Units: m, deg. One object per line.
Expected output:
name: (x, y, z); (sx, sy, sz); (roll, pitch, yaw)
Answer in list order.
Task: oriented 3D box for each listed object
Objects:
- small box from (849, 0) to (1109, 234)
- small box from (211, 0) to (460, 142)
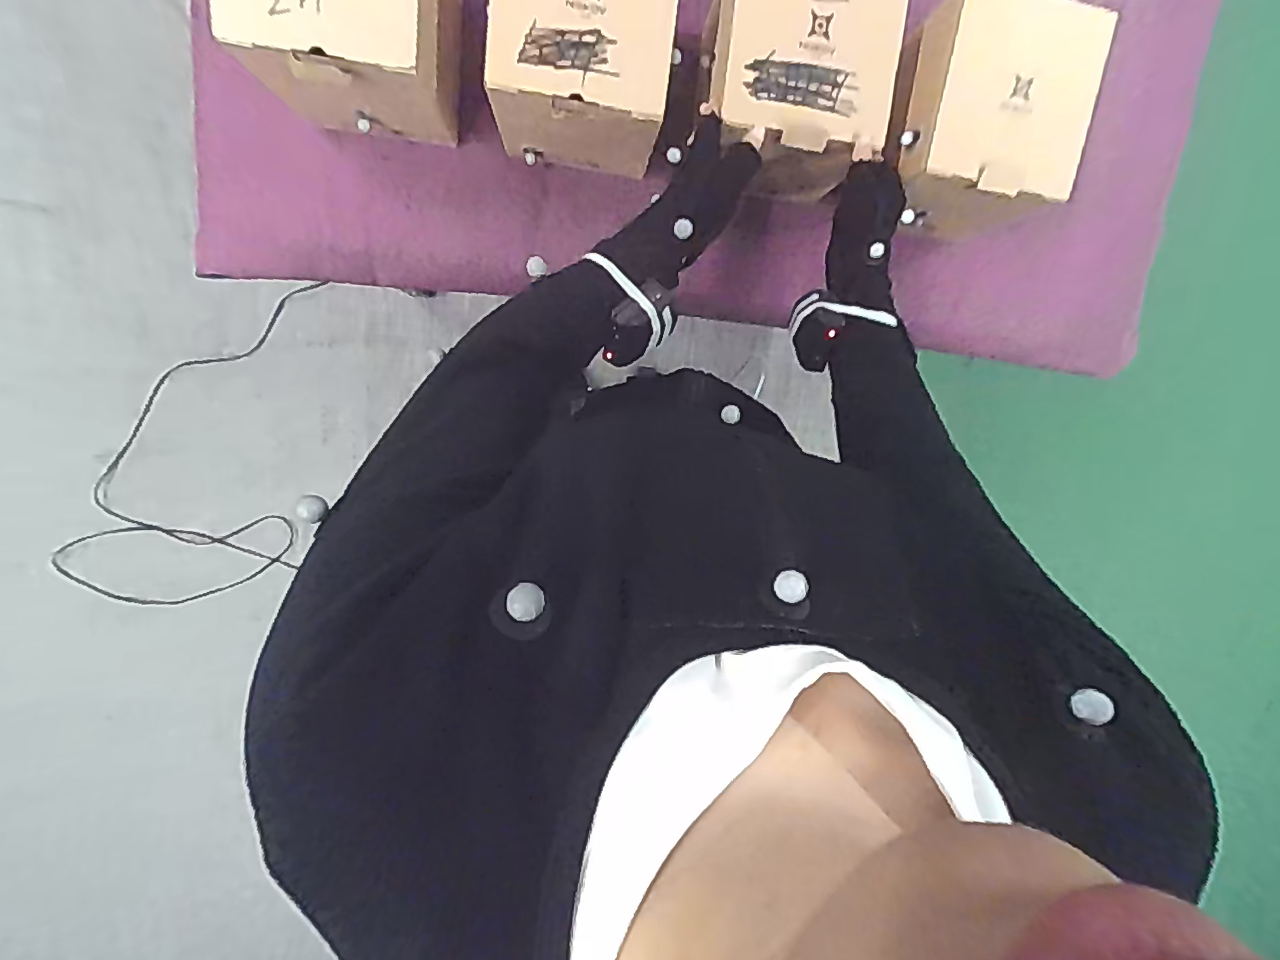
small box: (0.363, -0.404, 0.614); (0.168, 0.176, 0.179); (7, 101, -8)
small box: (-0.277, -0.467, 0.525); (0.168, 0.176, 0.179); (5, 101, -7)
